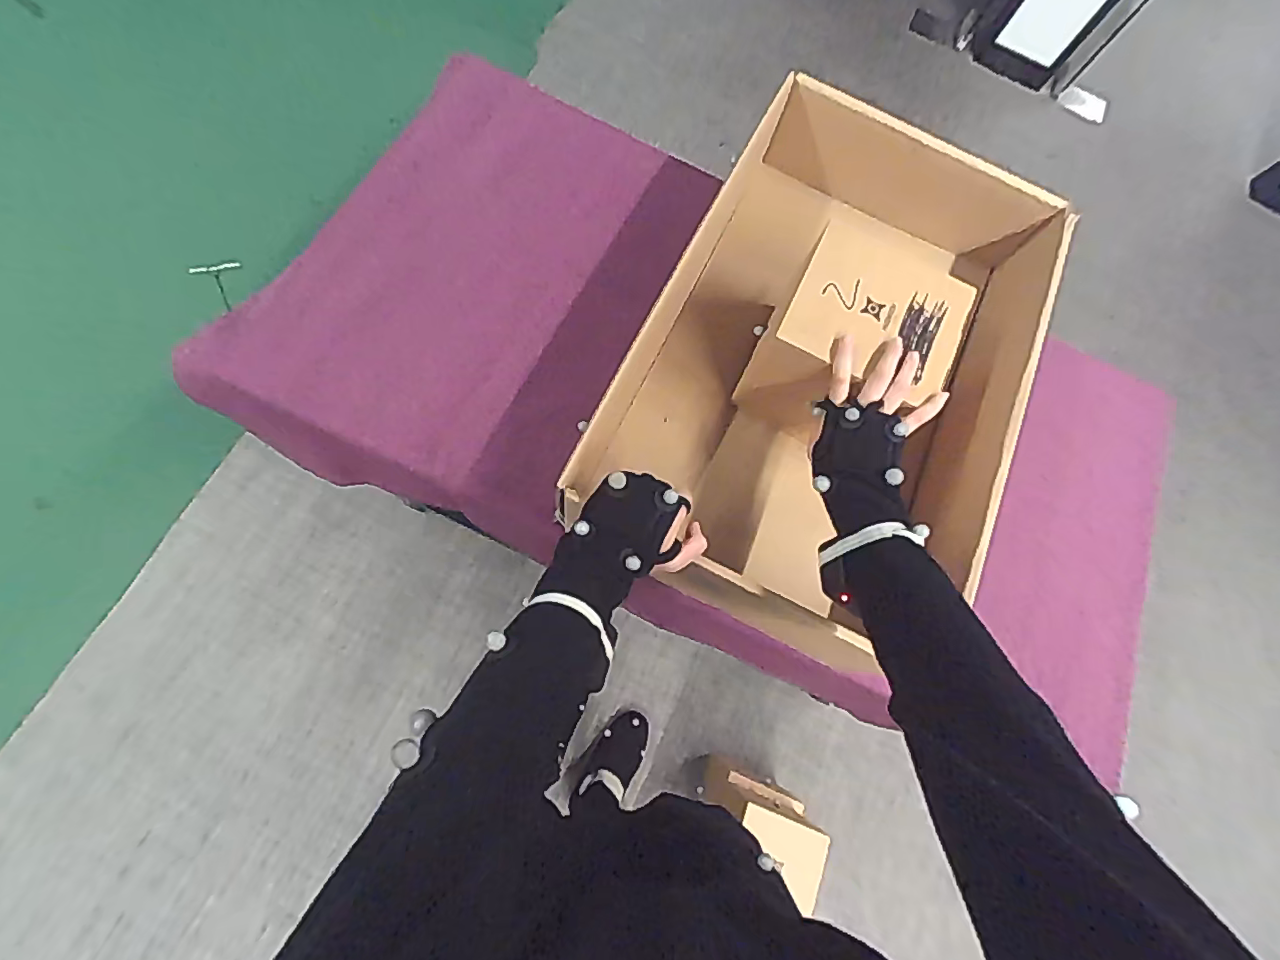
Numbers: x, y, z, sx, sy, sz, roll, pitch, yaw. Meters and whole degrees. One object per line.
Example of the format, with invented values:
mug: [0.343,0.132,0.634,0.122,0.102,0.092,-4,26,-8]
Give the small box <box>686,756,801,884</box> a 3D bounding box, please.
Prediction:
small box: [0.221,0.737,1.195,0.179,0.176,0.168,24,73,0]
